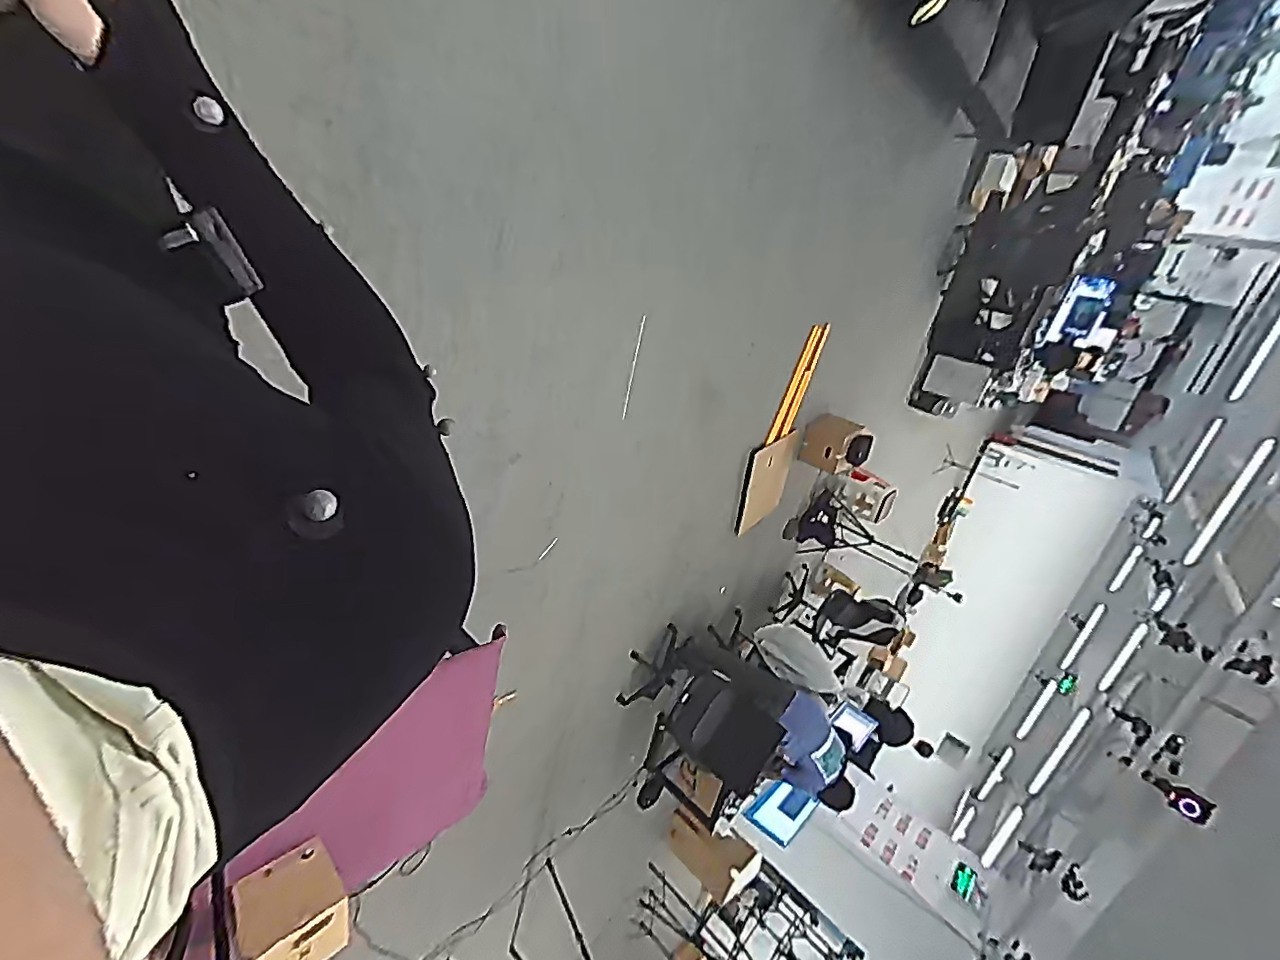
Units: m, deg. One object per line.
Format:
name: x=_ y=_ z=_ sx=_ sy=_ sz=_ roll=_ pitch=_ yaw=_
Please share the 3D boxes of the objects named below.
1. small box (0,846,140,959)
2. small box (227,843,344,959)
small box: x=-0.886 y=0.716 z=0.822 sx=0.168 sy=0.176 sz=0.179 roll=-13 pitch=124 yaw=-47
small box: x=-0.746 y=0.915 z=1.139 sx=0.168 sy=0.176 sz=0.179 roll=-13 pitch=124 yaw=-47
